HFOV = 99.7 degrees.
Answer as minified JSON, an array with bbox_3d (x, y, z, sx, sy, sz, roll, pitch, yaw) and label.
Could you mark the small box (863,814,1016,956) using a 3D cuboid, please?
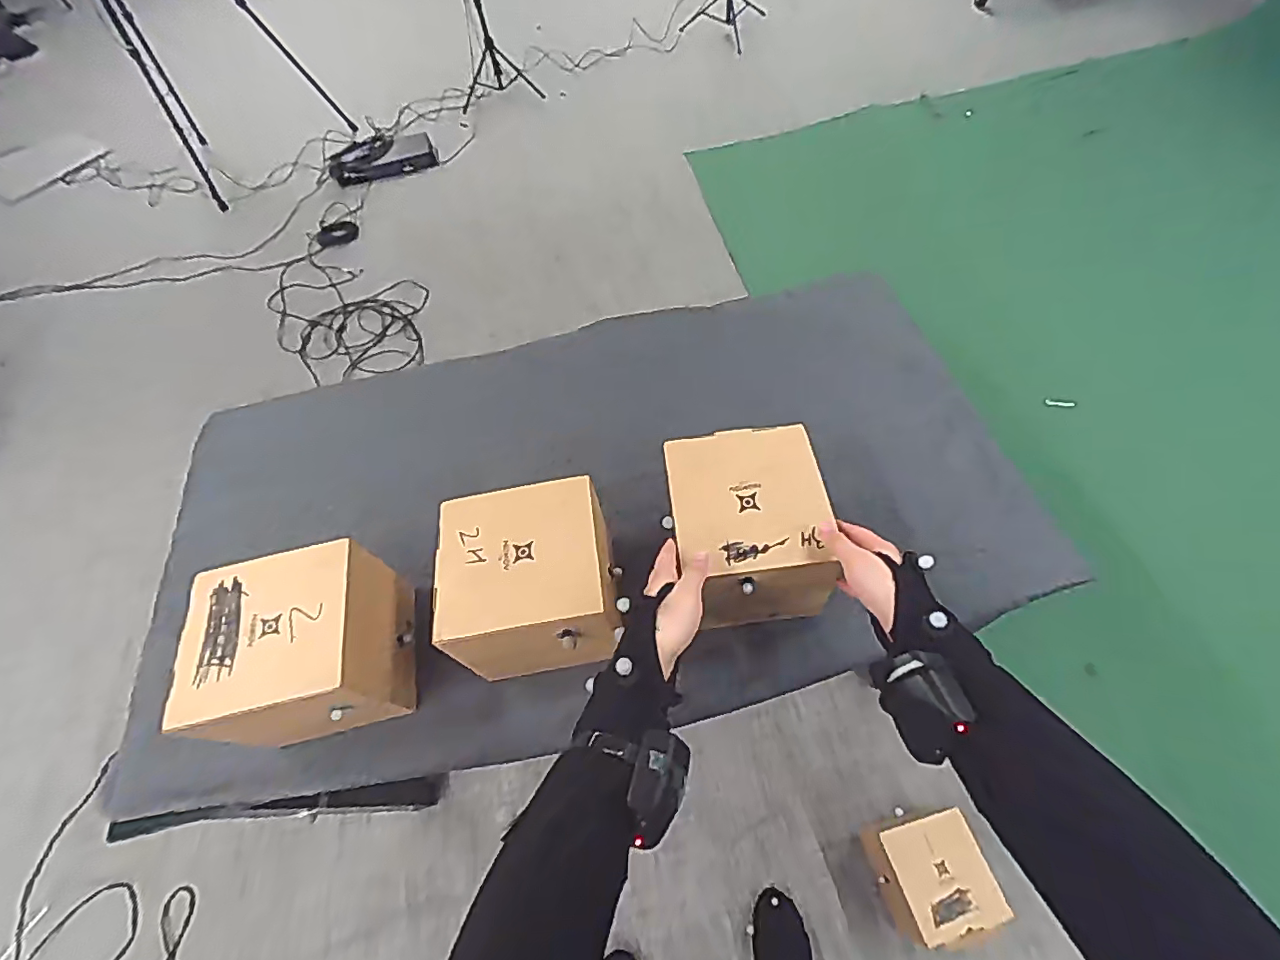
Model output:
[{"bbox_3d":[0.555,0.757,1.030,0.168,0.176,0.179,-16,58,-3],"label":"small box"}]
